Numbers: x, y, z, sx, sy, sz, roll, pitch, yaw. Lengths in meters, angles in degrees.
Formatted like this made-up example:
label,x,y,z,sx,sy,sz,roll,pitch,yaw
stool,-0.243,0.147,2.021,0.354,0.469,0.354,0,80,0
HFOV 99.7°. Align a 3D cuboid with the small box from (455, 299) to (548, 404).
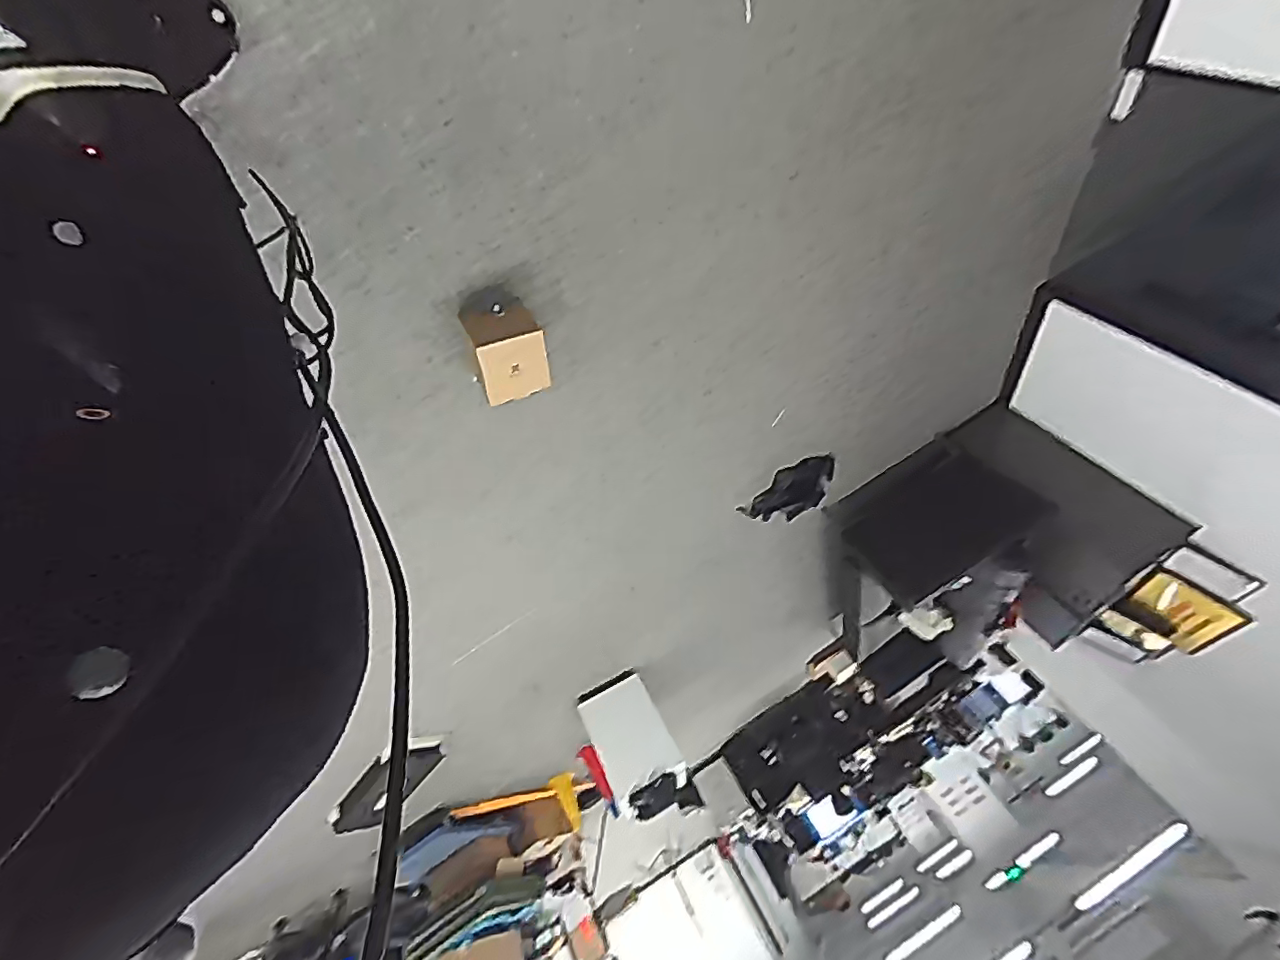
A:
label,x,y,z,sx,sy,sz,roll,pitch,yaw
small box,-0.348,-0.327,1.366,0.168,0.176,0.179,-23,140,-18
